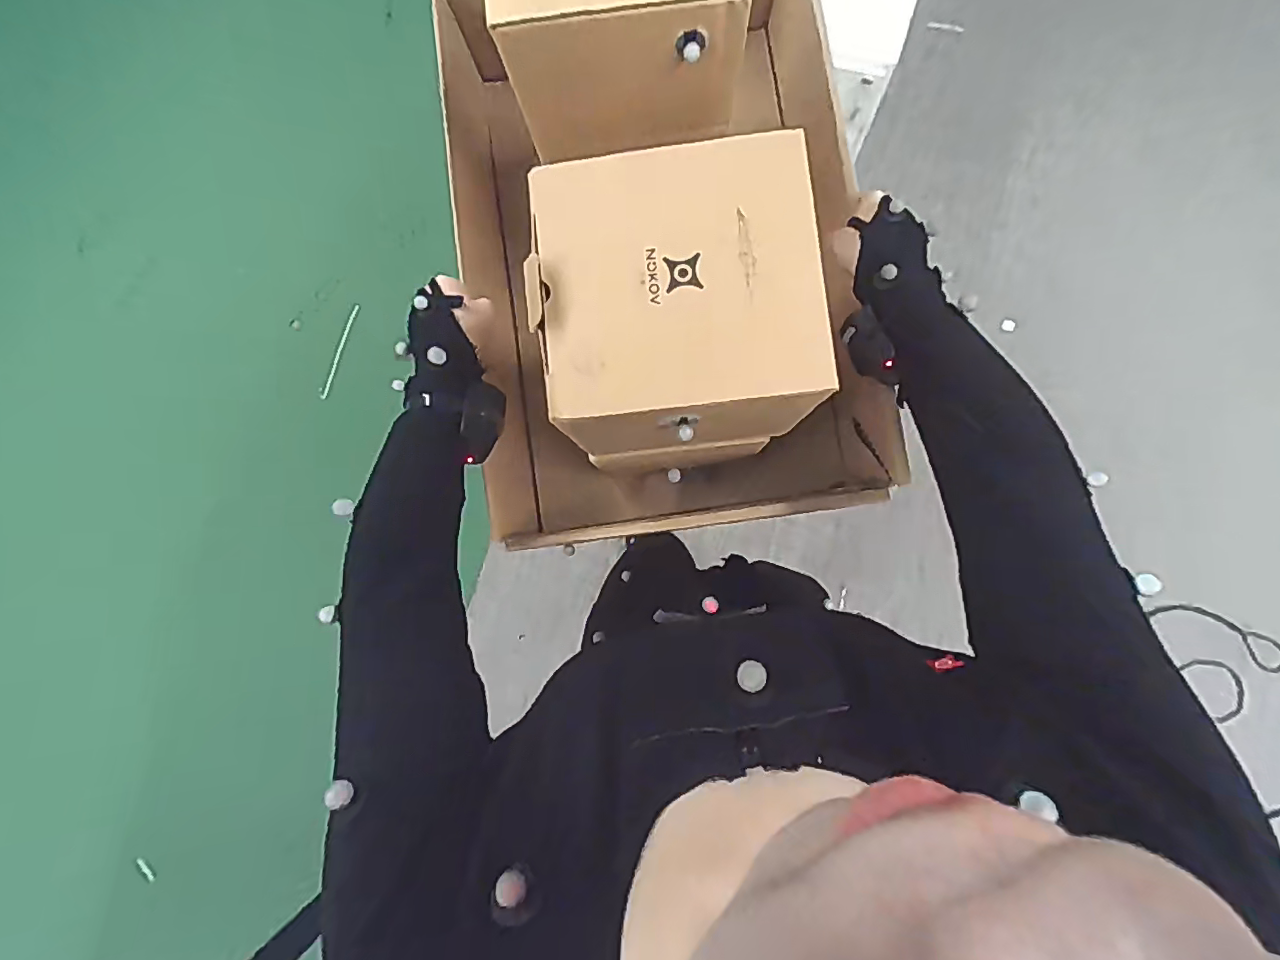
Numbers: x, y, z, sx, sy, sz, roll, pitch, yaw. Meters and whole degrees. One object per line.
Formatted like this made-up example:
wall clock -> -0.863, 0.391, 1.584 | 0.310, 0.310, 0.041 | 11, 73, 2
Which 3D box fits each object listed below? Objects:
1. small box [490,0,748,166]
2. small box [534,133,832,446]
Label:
small box -> -0.014, -0.380, 0.439 | 0.179, 0.176, 0.168 | -5, 86, 2
small box -> 0.029, -0.123, 0.418 | 0.179, 0.176, 0.168 | -6, 86, 3
